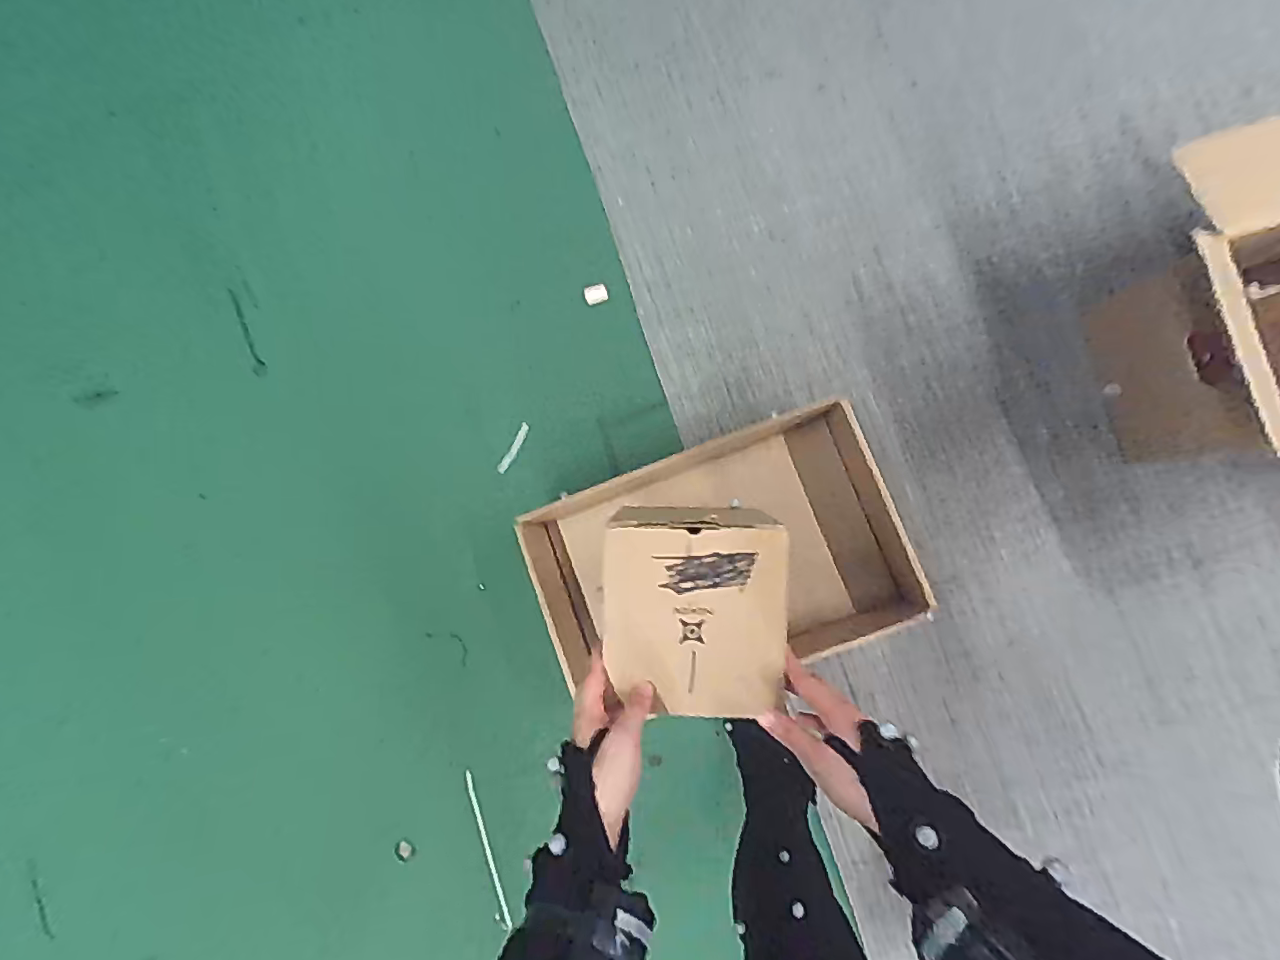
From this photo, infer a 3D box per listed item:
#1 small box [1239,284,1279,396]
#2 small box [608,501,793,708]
[{"bbox_3d":[1.030,-0.232,0.768,0.179,0.176,0.168,-17,85,5],"label":"small box"},{"bbox_3d":[0.057,0.114,0.564,0.168,0.176,0.179,1,92,3],"label":"small box"}]
